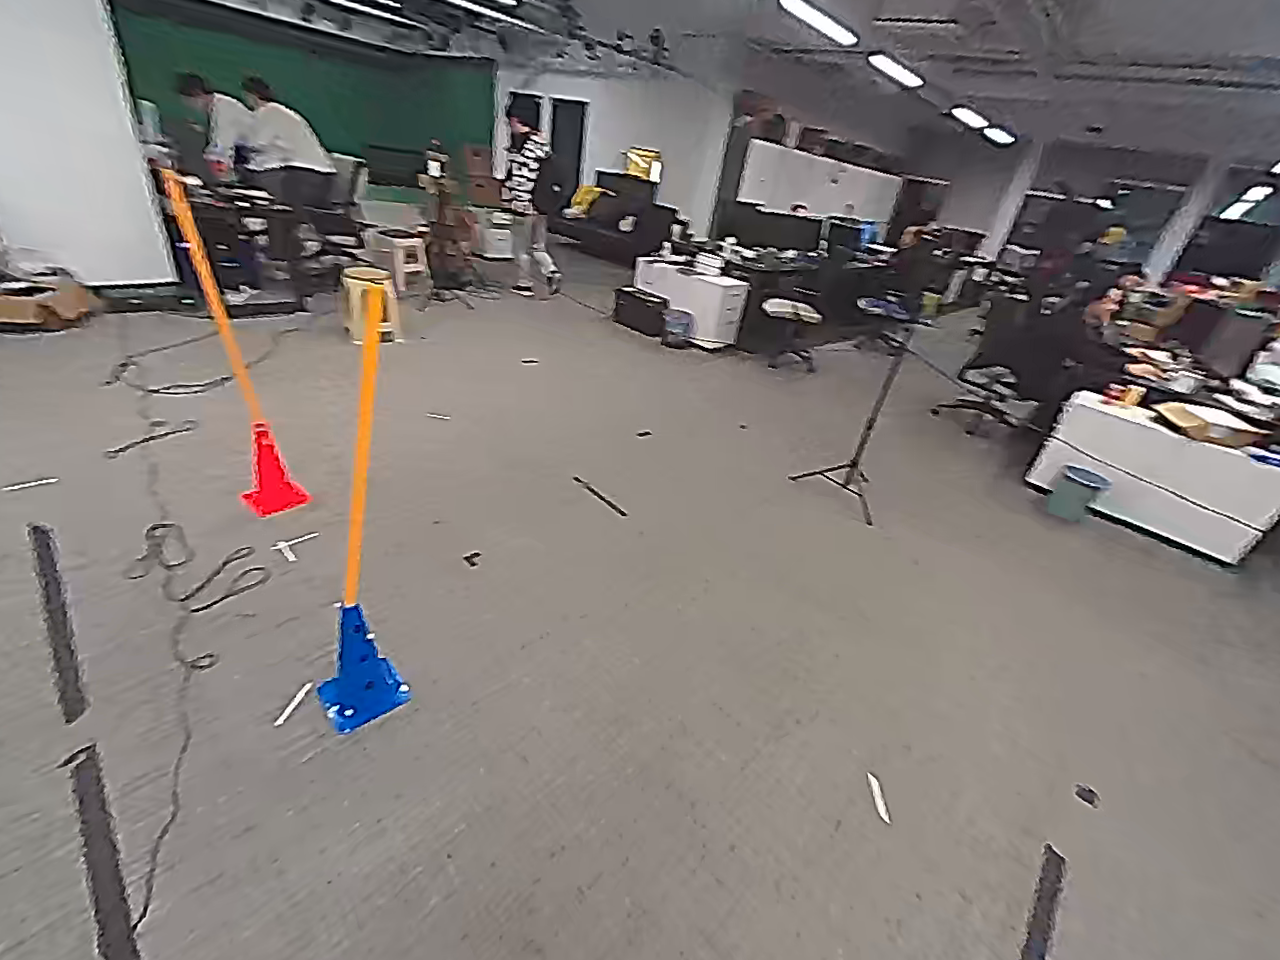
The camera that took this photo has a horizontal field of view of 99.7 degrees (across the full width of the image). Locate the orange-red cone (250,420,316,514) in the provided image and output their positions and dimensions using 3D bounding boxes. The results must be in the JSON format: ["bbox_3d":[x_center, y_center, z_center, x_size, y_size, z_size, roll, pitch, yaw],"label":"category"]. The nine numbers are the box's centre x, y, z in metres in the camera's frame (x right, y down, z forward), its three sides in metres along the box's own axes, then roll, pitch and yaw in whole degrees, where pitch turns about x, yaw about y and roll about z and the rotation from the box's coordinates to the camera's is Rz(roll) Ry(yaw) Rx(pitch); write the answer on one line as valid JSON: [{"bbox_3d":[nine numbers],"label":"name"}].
[{"bbox_3d":[-1.467,-0.073,2.169,0.198,0.360,0.199,29,37,30],"label":"orange-red cone"}]

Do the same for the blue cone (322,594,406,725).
[{"bbox_3d":[-0.775,0.471,1.491,0.193,0.380,0.192,-19,40,-40],"label":"blue cone"}]
